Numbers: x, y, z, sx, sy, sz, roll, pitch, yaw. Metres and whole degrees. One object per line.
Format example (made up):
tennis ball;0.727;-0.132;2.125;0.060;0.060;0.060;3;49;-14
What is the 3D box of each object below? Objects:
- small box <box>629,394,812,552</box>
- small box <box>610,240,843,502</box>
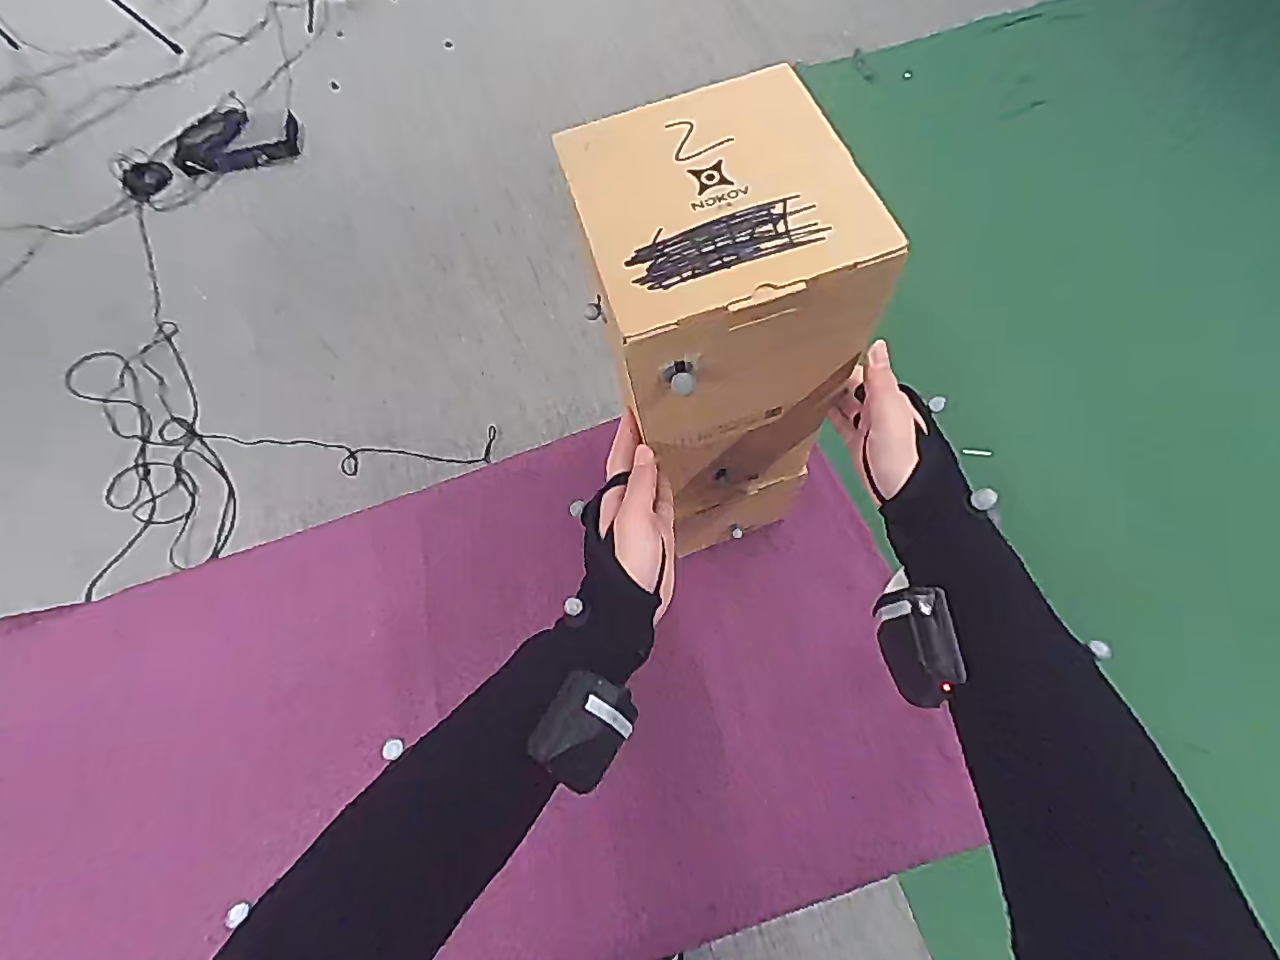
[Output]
small box;0.094;-0.029;0.694;0.168;0.176;0.179;-20;68;-1
small box;0.075;-0.100;0.549;0.168;0.176;0.179;-16;68;-1
